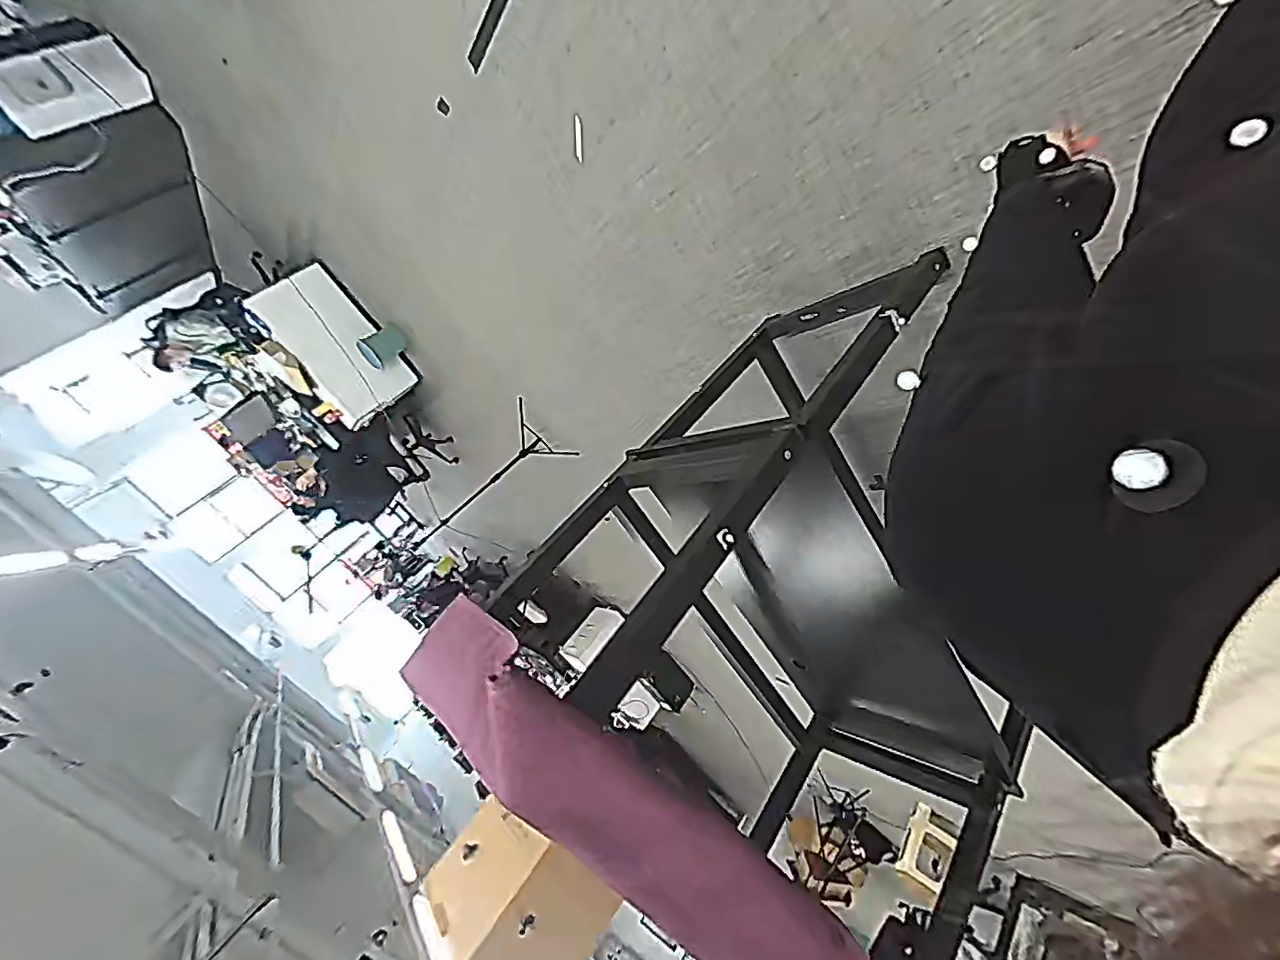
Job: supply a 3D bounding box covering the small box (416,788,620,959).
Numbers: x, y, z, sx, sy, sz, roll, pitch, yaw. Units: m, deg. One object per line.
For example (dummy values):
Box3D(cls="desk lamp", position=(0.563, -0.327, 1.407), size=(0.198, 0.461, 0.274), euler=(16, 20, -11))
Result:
Box3D(cls="small box", position=(-0.163, 0.569, 0.743), size=(0.168, 0.176, 0.179), euler=(3, 134, 53))
